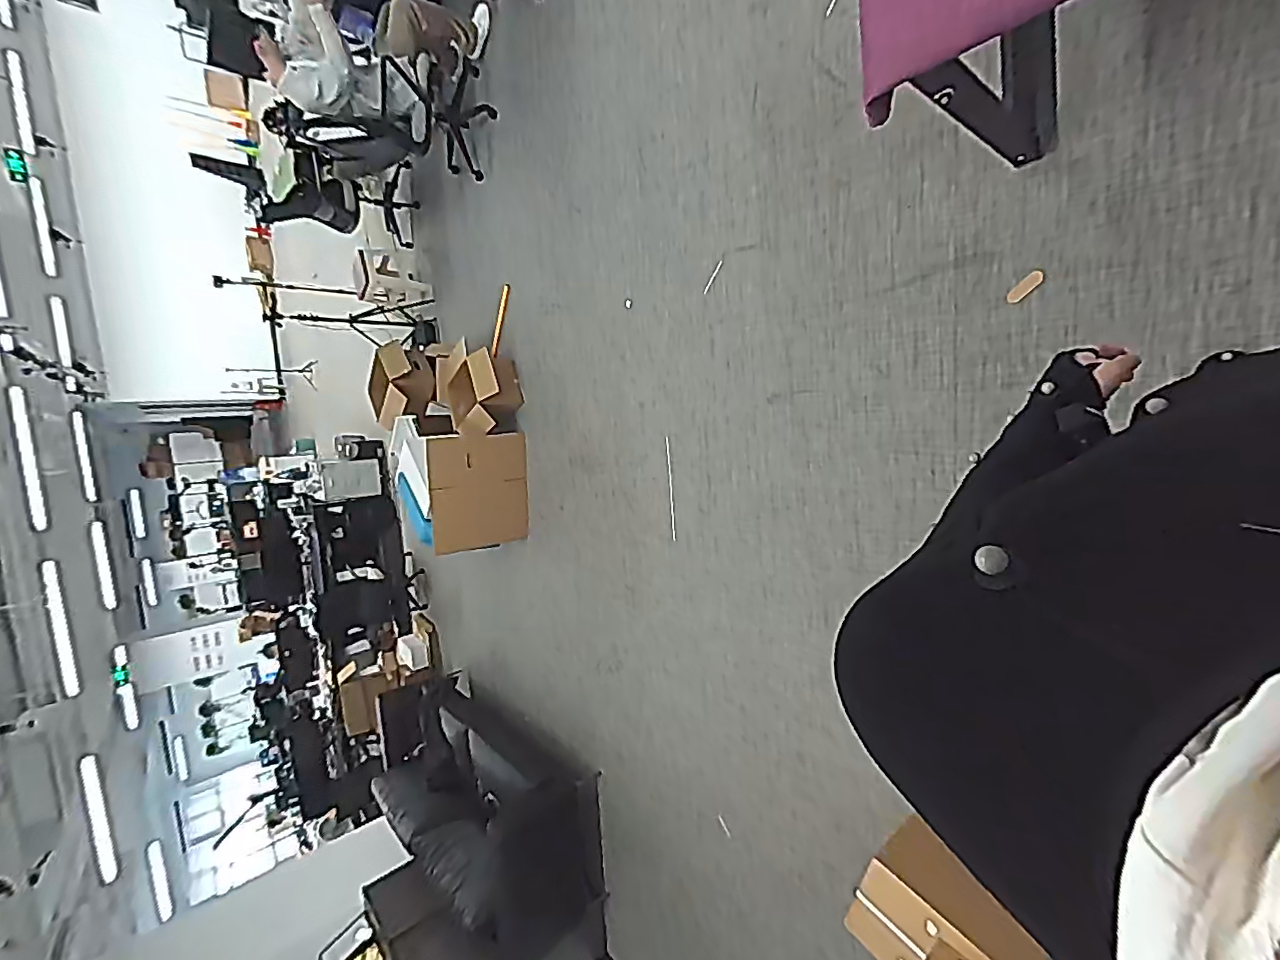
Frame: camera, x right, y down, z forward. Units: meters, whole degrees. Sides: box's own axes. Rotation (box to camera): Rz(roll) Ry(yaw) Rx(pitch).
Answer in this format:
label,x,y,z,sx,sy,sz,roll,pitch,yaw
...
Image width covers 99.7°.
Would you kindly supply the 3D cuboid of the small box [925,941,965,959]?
label,x,y,z,sx,sy,sz,roll,pitch,yaw
small box,0.771,1.309,1.332,0.168,0.176,0.179,19,110,48
